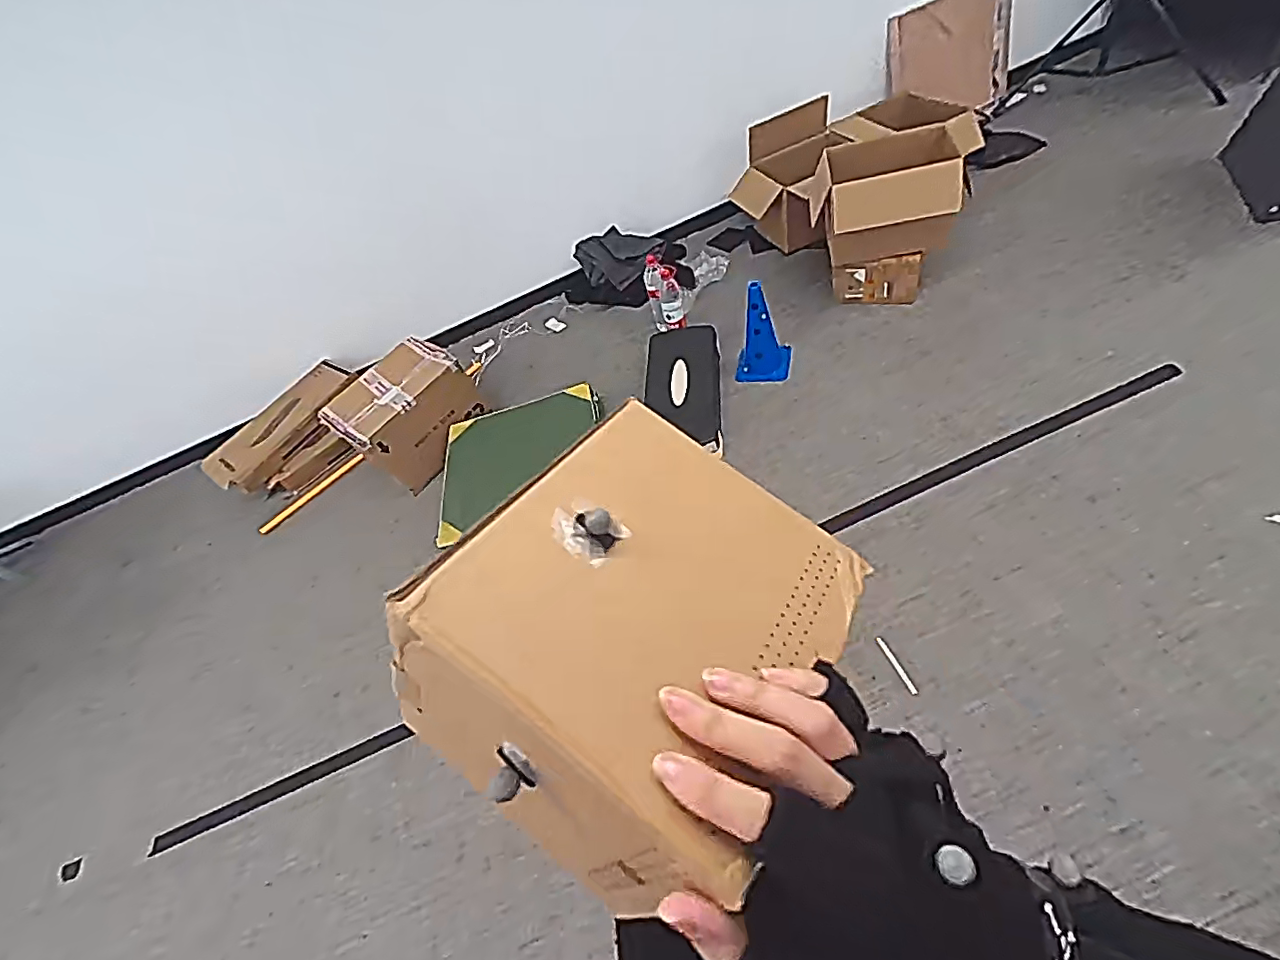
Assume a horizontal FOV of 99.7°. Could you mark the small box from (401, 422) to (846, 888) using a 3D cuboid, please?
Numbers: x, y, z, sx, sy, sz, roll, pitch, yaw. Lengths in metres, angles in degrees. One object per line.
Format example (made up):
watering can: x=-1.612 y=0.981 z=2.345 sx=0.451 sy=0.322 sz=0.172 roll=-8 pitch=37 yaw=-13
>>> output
small box: x=-0.007 y=0.104 z=0.322 sx=0.176 sy=0.168 sz=0.179 roll=36 pitch=50 yaw=11
